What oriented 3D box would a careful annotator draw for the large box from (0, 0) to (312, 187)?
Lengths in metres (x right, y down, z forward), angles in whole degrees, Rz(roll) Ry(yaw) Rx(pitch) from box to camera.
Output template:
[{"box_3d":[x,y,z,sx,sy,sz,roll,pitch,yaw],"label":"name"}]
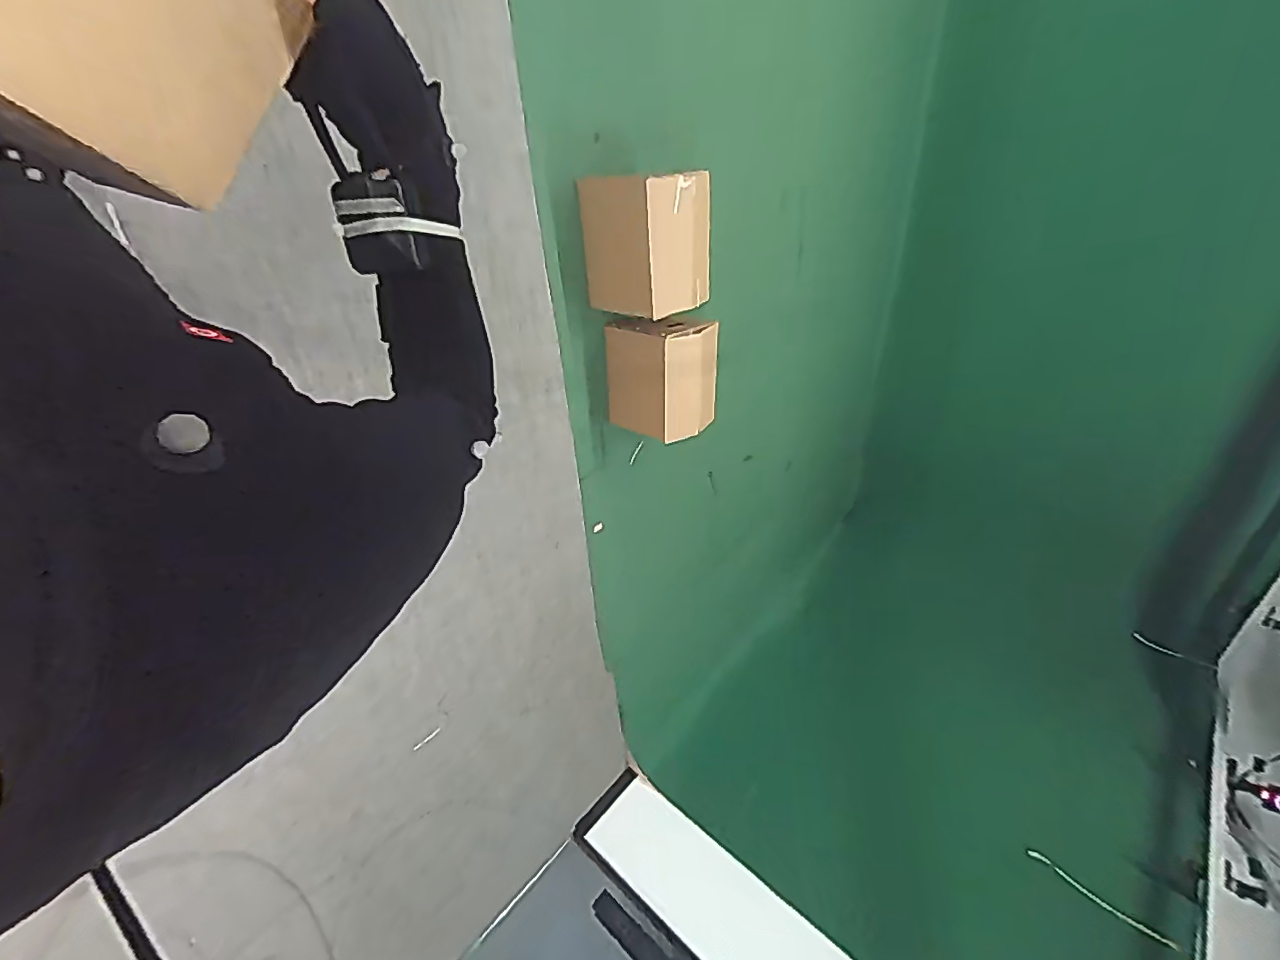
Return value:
[{"box_3d":[-0.410,-0.420,0.253,0.320,0.320,0.408,-62,149,-1],"label":"large box"}]
